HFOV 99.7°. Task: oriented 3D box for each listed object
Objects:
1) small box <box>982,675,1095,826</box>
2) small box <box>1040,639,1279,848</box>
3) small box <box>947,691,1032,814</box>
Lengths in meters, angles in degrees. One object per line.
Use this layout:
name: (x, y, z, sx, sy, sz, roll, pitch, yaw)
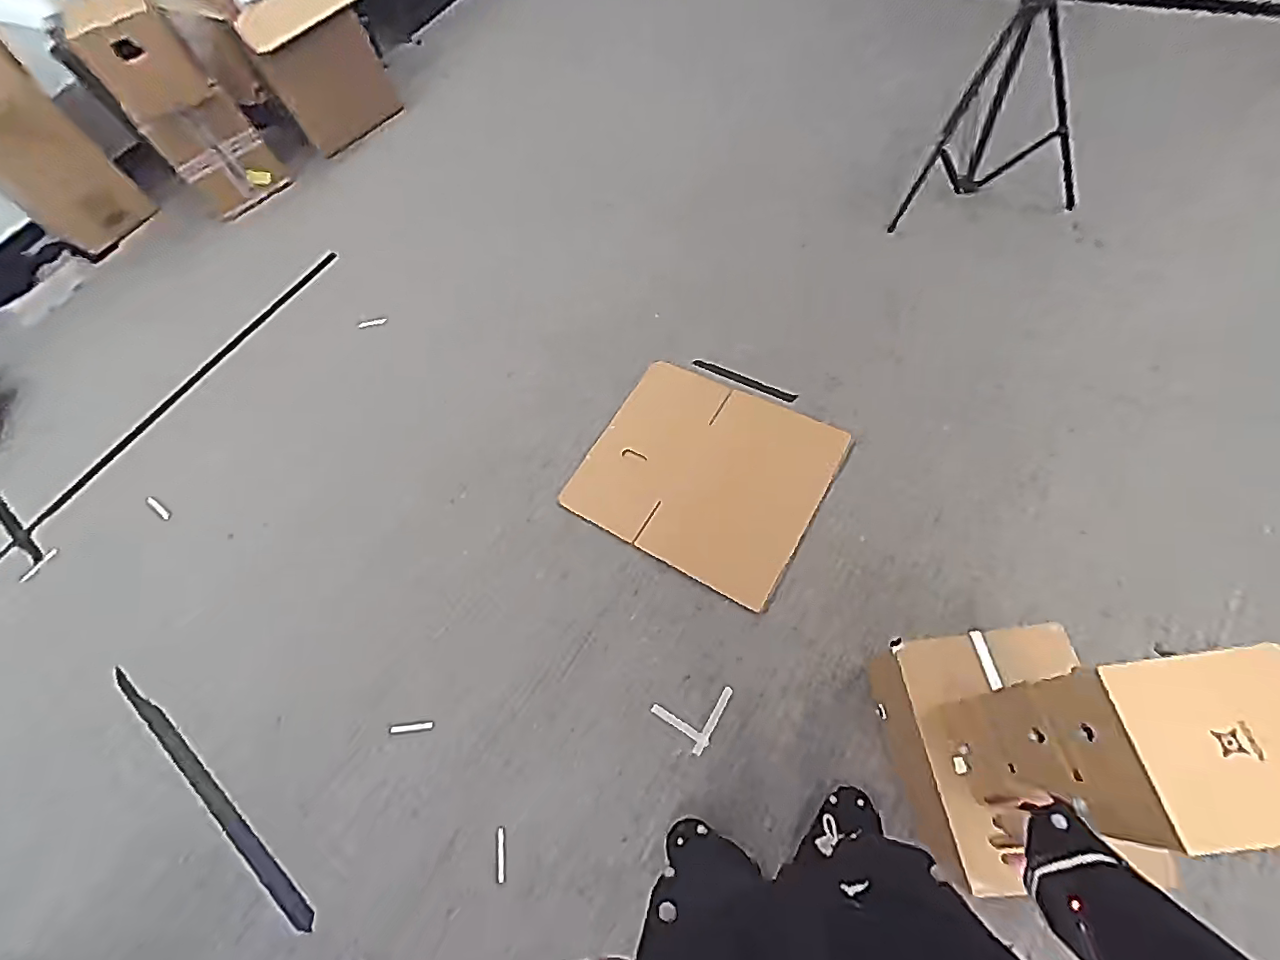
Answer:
small box: (0.605, 0.350, 0.723, 0.179, 0.176, 0.168, -10, 61, 6)
small box: (0.574, 0.280, 0.578, 0.179, 0.176, 0.168, -11, 61, 6)
small box: (0.632, 0.424, 0.867, 0.179, 0.176, 0.168, -11, 62, 7)
